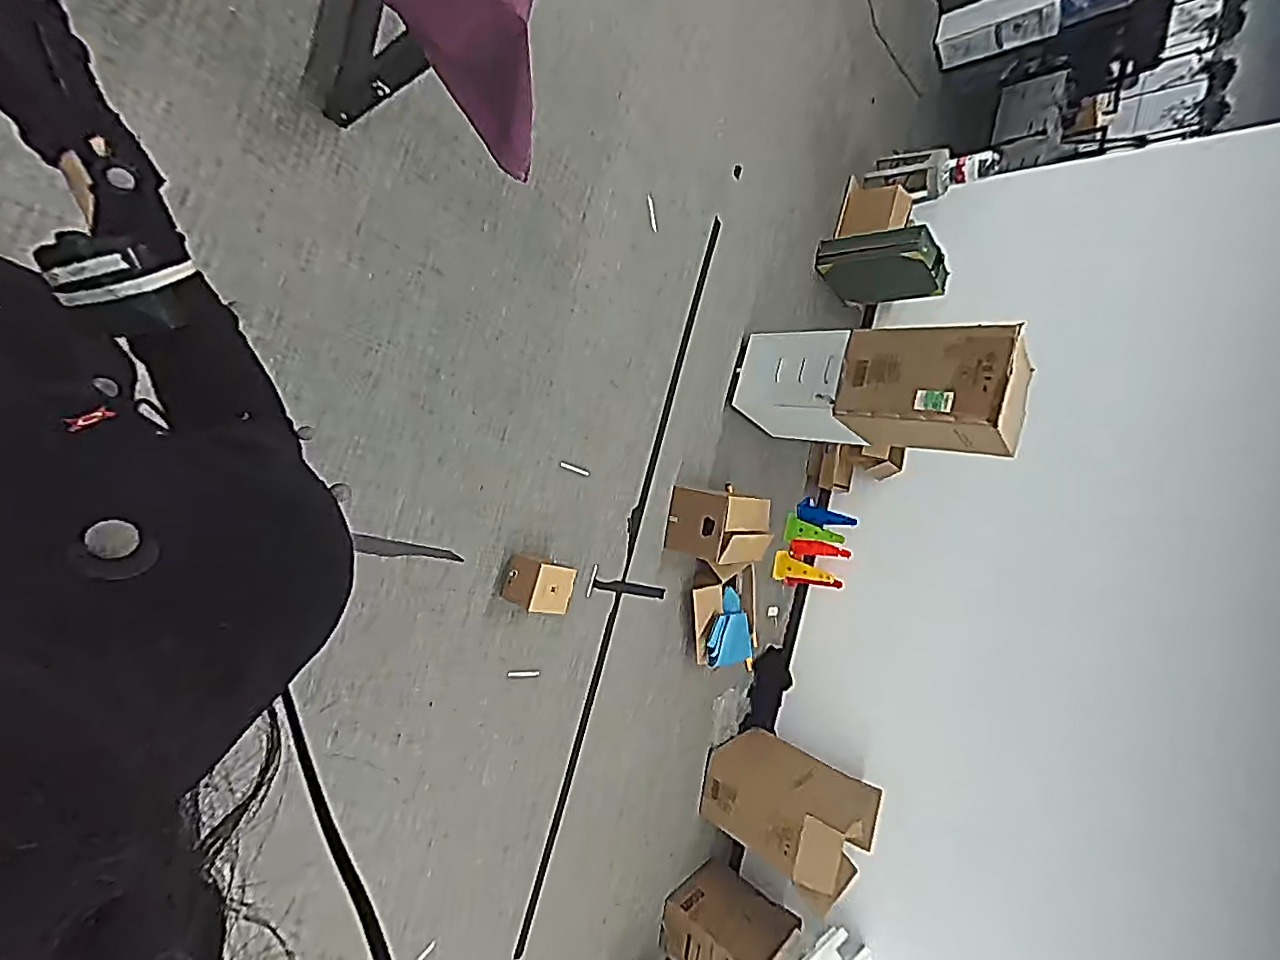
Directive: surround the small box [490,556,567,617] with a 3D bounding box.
[{"bbox_3d":[-0.394,0.375,1.912,0.179,0.176,0.168,22,80,-49],"label":"small box"}]
